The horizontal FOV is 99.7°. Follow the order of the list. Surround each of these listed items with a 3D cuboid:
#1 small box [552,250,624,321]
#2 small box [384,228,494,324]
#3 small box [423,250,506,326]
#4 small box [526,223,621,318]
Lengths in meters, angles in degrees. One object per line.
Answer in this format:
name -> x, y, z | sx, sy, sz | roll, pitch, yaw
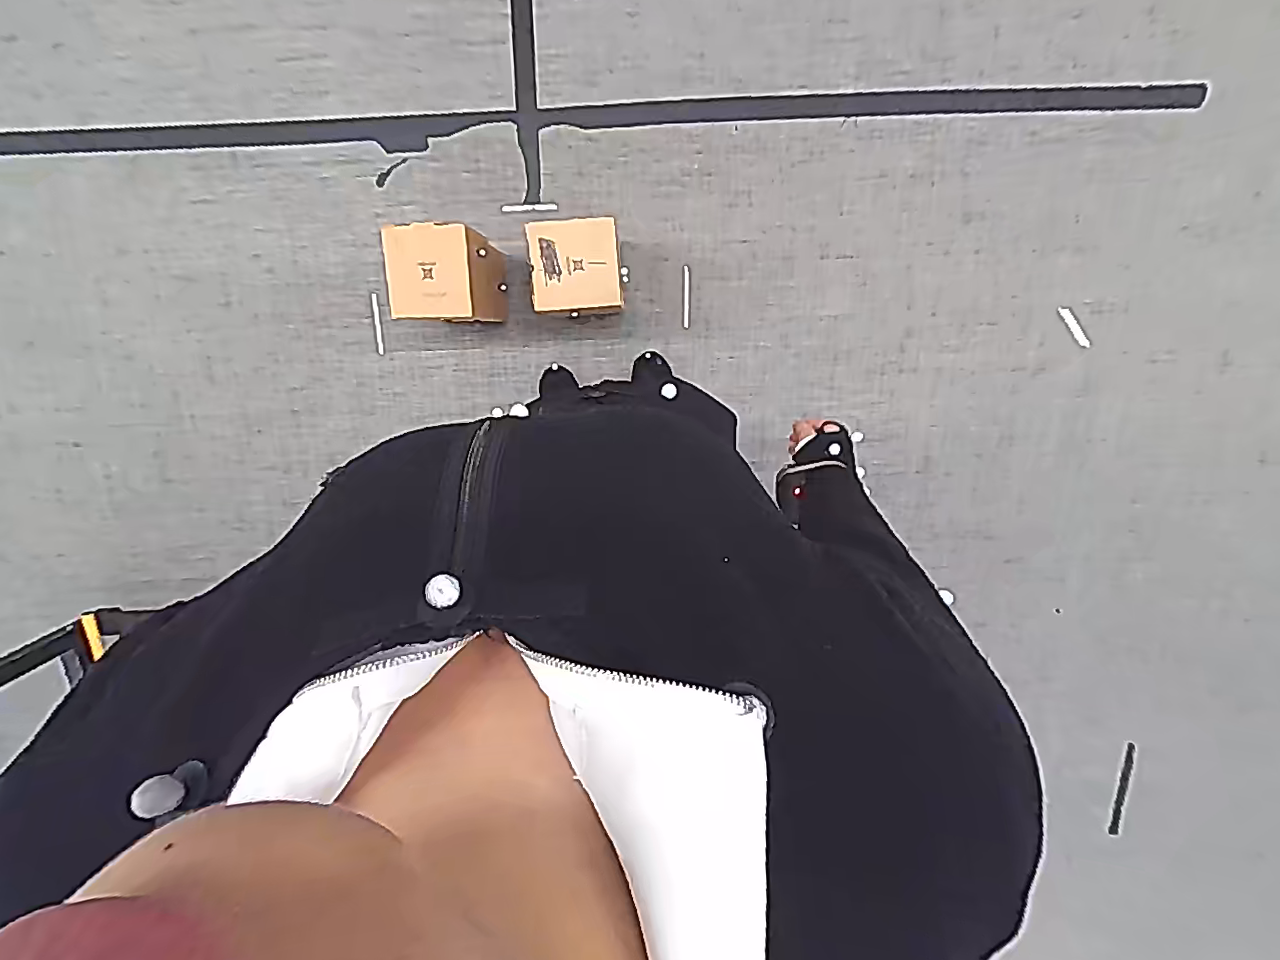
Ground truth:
small box -> -0.128, -0.482, 1.309 | 0.168, 0.176, 0.179 | -4, 105, 1
small box -> -0.418, -0.426, 1.150 | 0.168, 0.176, 0.179 | -1, 106, 1
small box -> -0.426, -0.462, 1.309 | 0.179, 0.176, 0.168 | 0, 104, 0
small box -> -0.133, -0.437, 1.149 | 0.179, 0.176, 0.168 | -4, 104, 0
